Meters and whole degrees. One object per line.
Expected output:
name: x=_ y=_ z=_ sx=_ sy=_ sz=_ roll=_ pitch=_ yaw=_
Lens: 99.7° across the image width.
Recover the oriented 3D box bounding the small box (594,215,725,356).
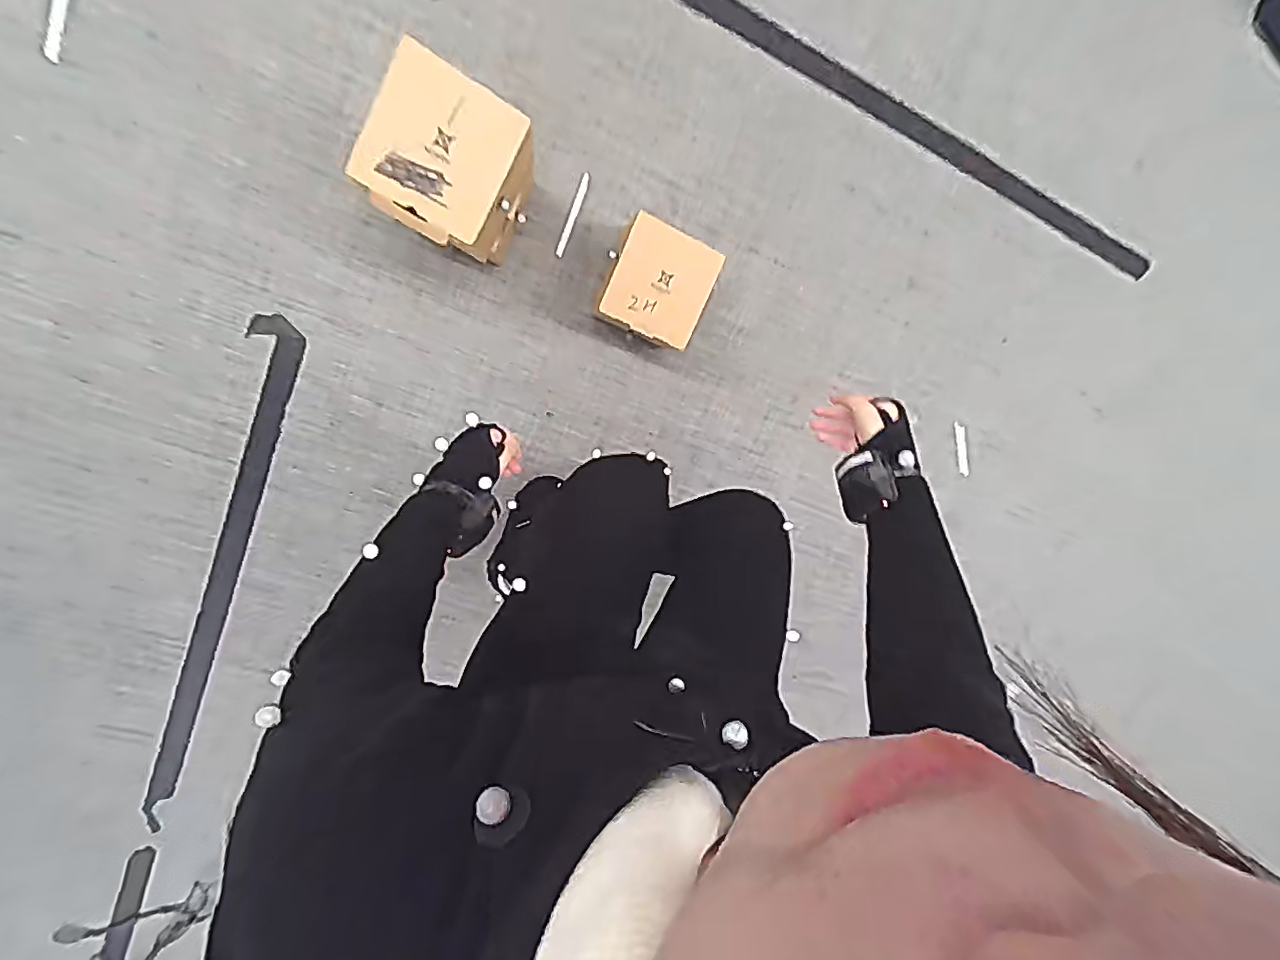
small box: x=0.024 y=-0.343 z=0.981 sx=0.168 sy=0.176 sz=0.179 roll=22 pitch=101 yaw=-15

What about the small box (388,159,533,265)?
small box: x=-0.287 y=-0.472 z=0.890 sx=0.179 sy=0.176 sz=0.168 roll=22 pitch=100 yaw=-16

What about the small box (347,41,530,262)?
small box: x=-0.257 y=-0.421 z=0.736 sx=0.168 sy=0.176 sz=0.179 roll=27 pitch=98 yaw=-16
